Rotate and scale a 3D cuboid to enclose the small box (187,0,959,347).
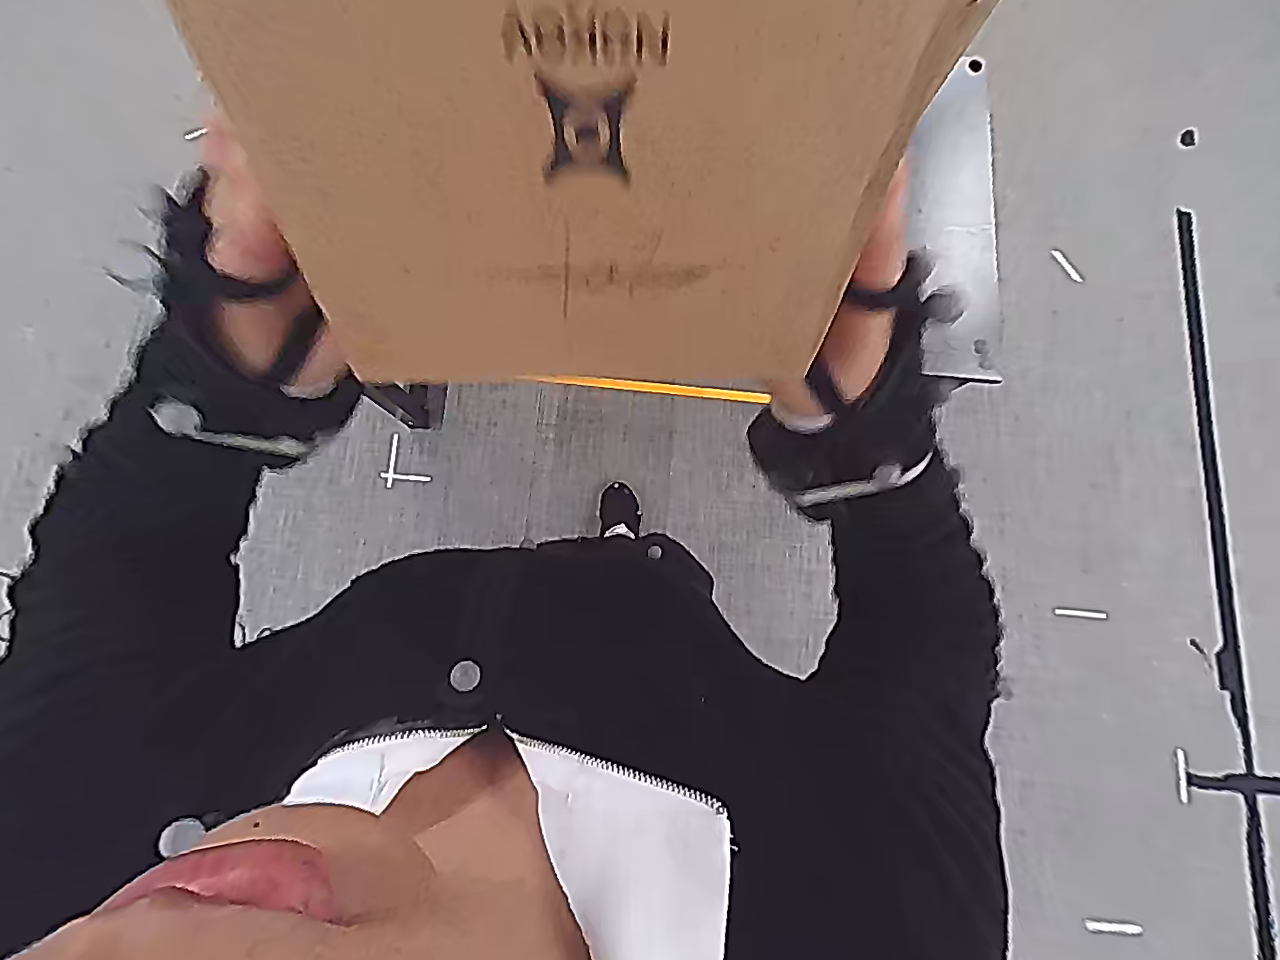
[{"bbox_3d":[-0.017,-0.165,0.166,0.168,0.179,0.176,-2,57,-4],"label":"small box"}]
